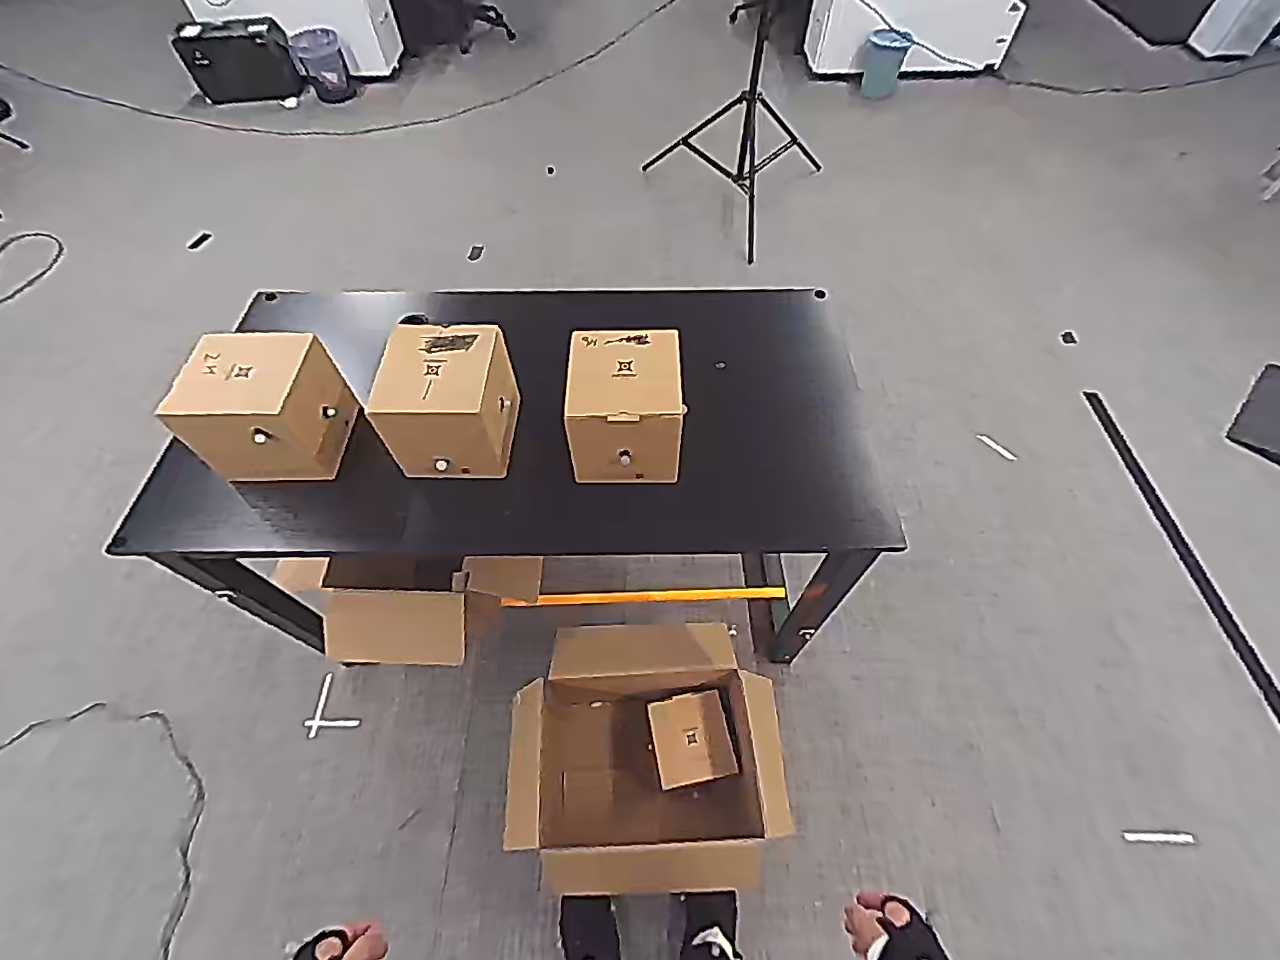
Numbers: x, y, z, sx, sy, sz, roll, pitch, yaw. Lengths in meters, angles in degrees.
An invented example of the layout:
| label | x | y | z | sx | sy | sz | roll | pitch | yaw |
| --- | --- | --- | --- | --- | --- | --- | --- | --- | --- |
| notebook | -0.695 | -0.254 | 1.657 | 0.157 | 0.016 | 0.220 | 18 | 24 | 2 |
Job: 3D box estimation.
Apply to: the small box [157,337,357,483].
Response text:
| label | x | y | z | sx | sy | sz | roll | pitch | yaw |
| --- | --- | --- | --- | --- | --- | --- | --- | --- | --- |
| small box | -0.586 | -0.107 | 0.861 | 0.179 | 0.176 | 0.168 | -1 | 56 | -1 |

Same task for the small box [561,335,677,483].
| label | x | y | z | sx | sy | sz | roll | pitch | yaw |
| --- | --- | --- | --- | --- | --- | --- | --- | --- | --- |
| small box | -0.025 | -0.107 | 0.860 | 0.168 | 0.176 | 0.179 | 0 | 57 | 1 |

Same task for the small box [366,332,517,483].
| label | x | y | z | sx | sy | sz | roll | pitch | yaw |
| --- | --- | --- | --- | --- | --- | --- | --- | --- | --- |
| small box | -0.301 | -0.115 | 0.866 | 0.168 | 0.176 | 0.179 | 0 | 57 | 1 |
